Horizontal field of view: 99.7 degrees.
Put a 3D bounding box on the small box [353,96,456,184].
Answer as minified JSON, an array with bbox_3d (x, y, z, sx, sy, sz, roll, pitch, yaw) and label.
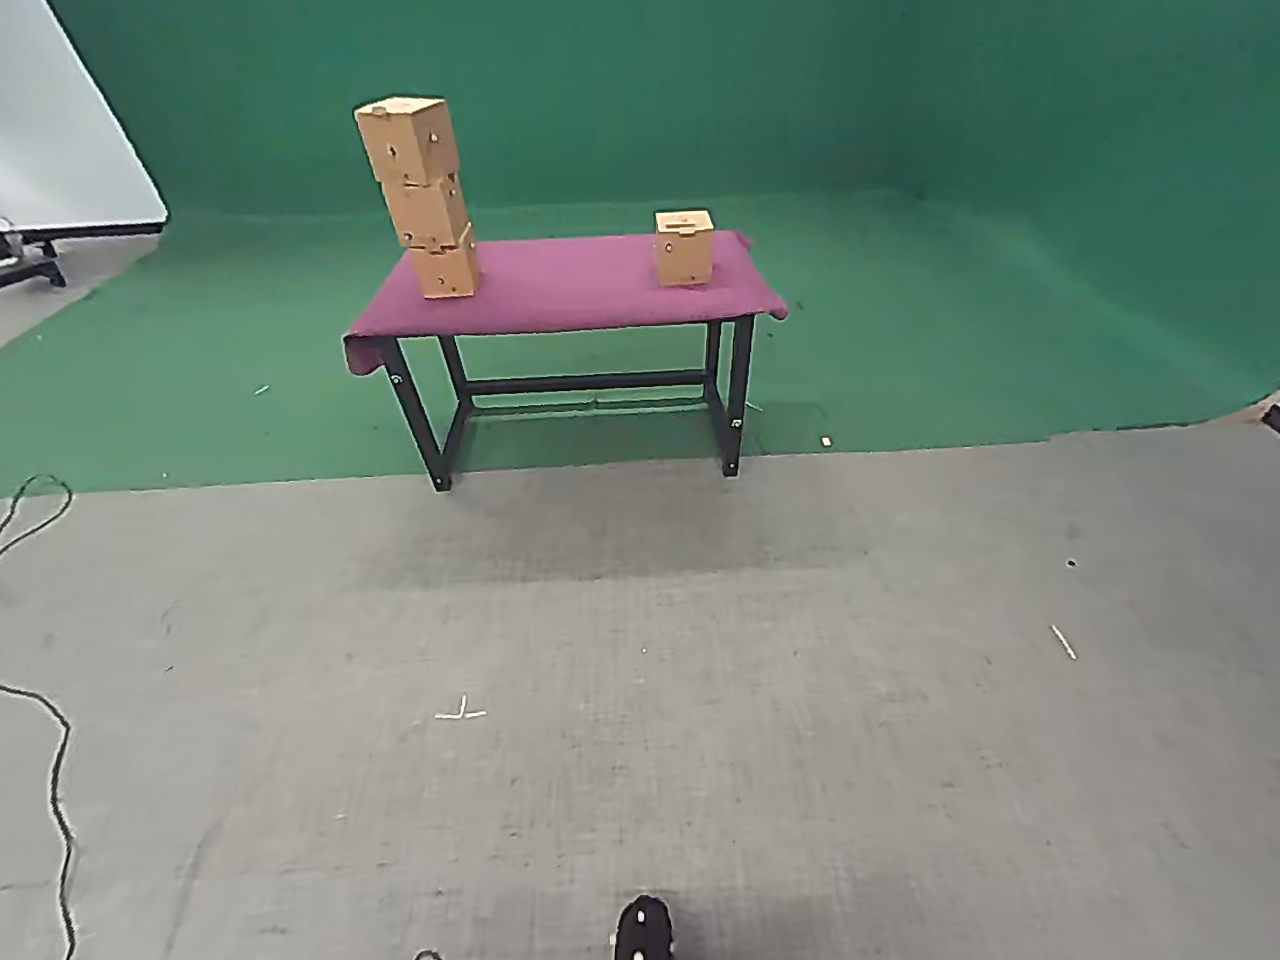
[{"bbox_3d":[-0.629,-0.923,1.471,0.168,0.176,0.179,12,48,13],"label":"small box"}]

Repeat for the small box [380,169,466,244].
[{"bbox_3d":[-0.625,-0.804,1.584,0.168,0.176,0.179,-1,44,1],"label":"small box"}]

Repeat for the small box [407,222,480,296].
[{"bbox_3d":[-0.612,-0.699,1.711,0.168,0.176,0.179,-4,45,-2],"label":"small box"}]
